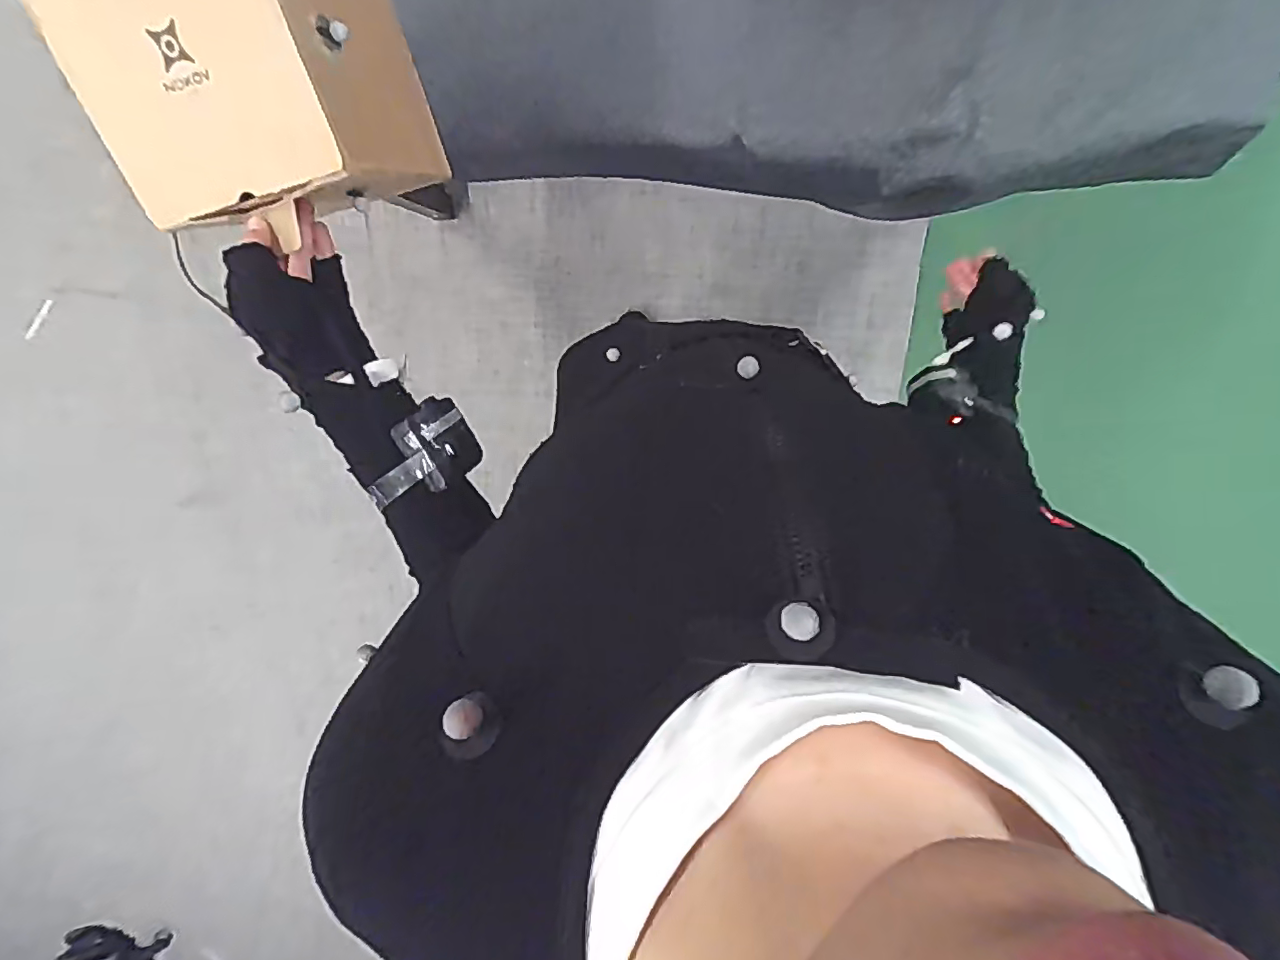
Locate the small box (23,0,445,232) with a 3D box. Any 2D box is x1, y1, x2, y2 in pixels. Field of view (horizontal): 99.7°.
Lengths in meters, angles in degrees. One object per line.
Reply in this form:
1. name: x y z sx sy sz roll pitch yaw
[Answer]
1. small box: -0.277 -0.303 0.405 0.168 0.176 0.179 -9 116 12
